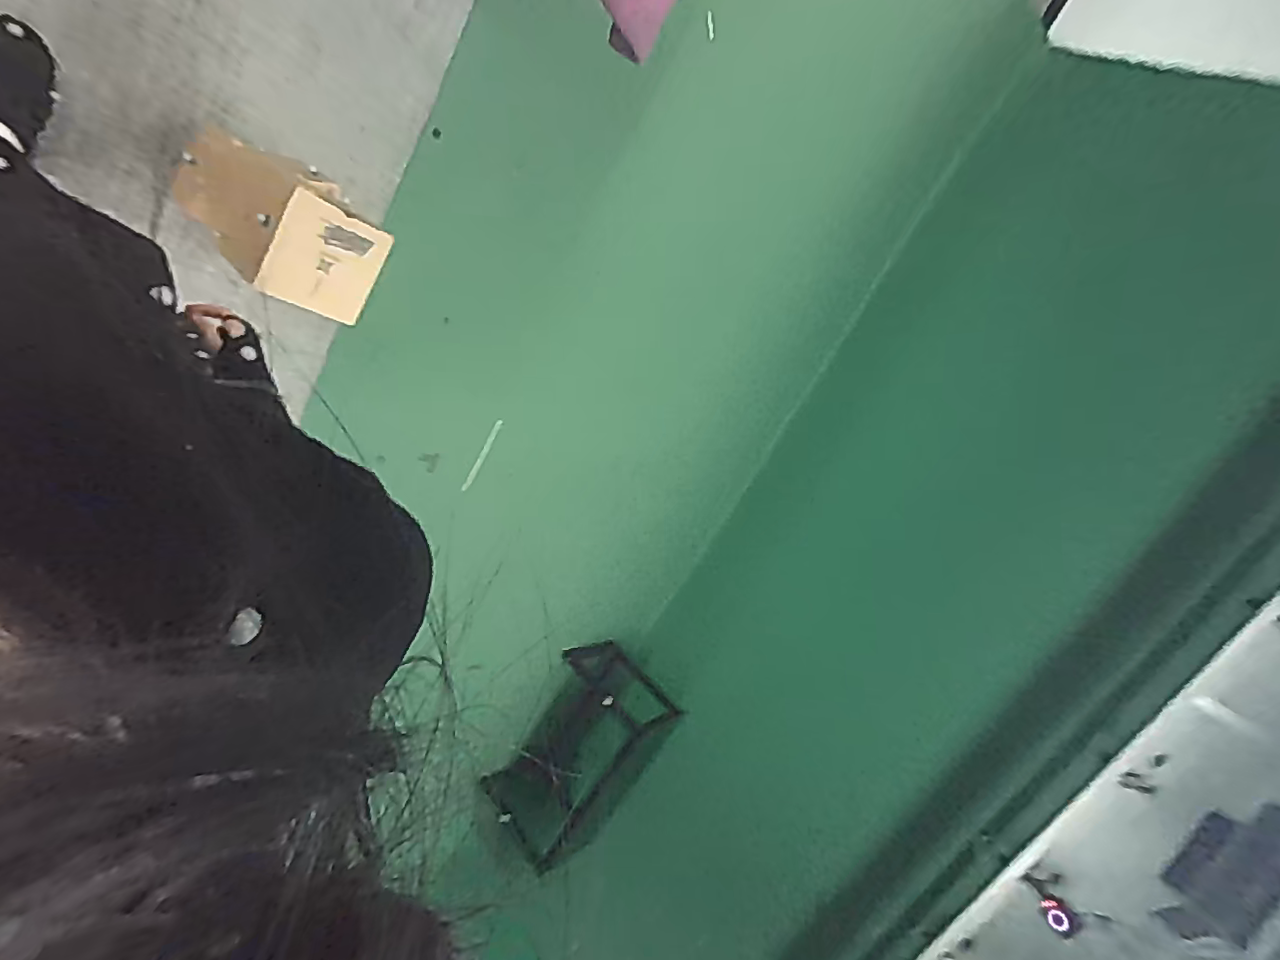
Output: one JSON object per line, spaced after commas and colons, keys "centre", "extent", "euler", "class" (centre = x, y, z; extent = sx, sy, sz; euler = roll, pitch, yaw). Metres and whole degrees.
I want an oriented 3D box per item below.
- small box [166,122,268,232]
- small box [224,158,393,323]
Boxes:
{"centre": [-0.796, -0.577, 1.081], "extent": [0.168, 0.176, 0.179], "euler": [-53, 151, 4], "class": "small box"}
{"centre": [-0.567, -0.406, 0.920], "extent": [0.179, 0.176, 0.168], "euler": [-57, 151, 11], "class": "small box"}
